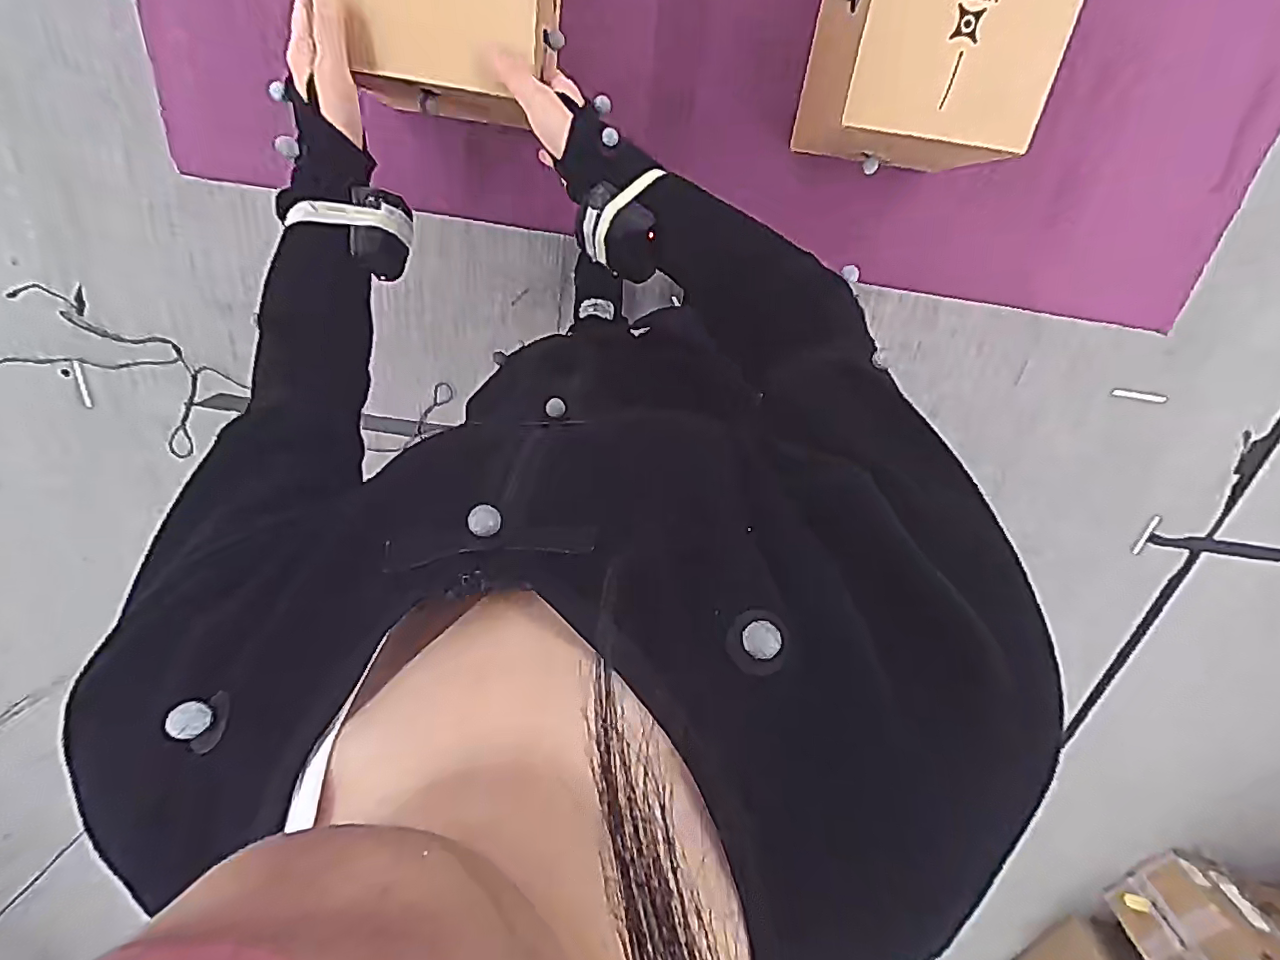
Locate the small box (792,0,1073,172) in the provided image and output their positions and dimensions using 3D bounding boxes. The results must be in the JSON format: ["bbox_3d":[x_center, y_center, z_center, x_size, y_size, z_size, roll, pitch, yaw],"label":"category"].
[{"bbox_3d":[0.254,-0.402,0.498,0.168,0.176,0.179,7,115,-3],"label":"small box"}]

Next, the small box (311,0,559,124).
[{"bbox_3d":[-0.166,-0.433,0.479,0.179,0.176,0.168,6,115,-5],"label":"small box"}]
